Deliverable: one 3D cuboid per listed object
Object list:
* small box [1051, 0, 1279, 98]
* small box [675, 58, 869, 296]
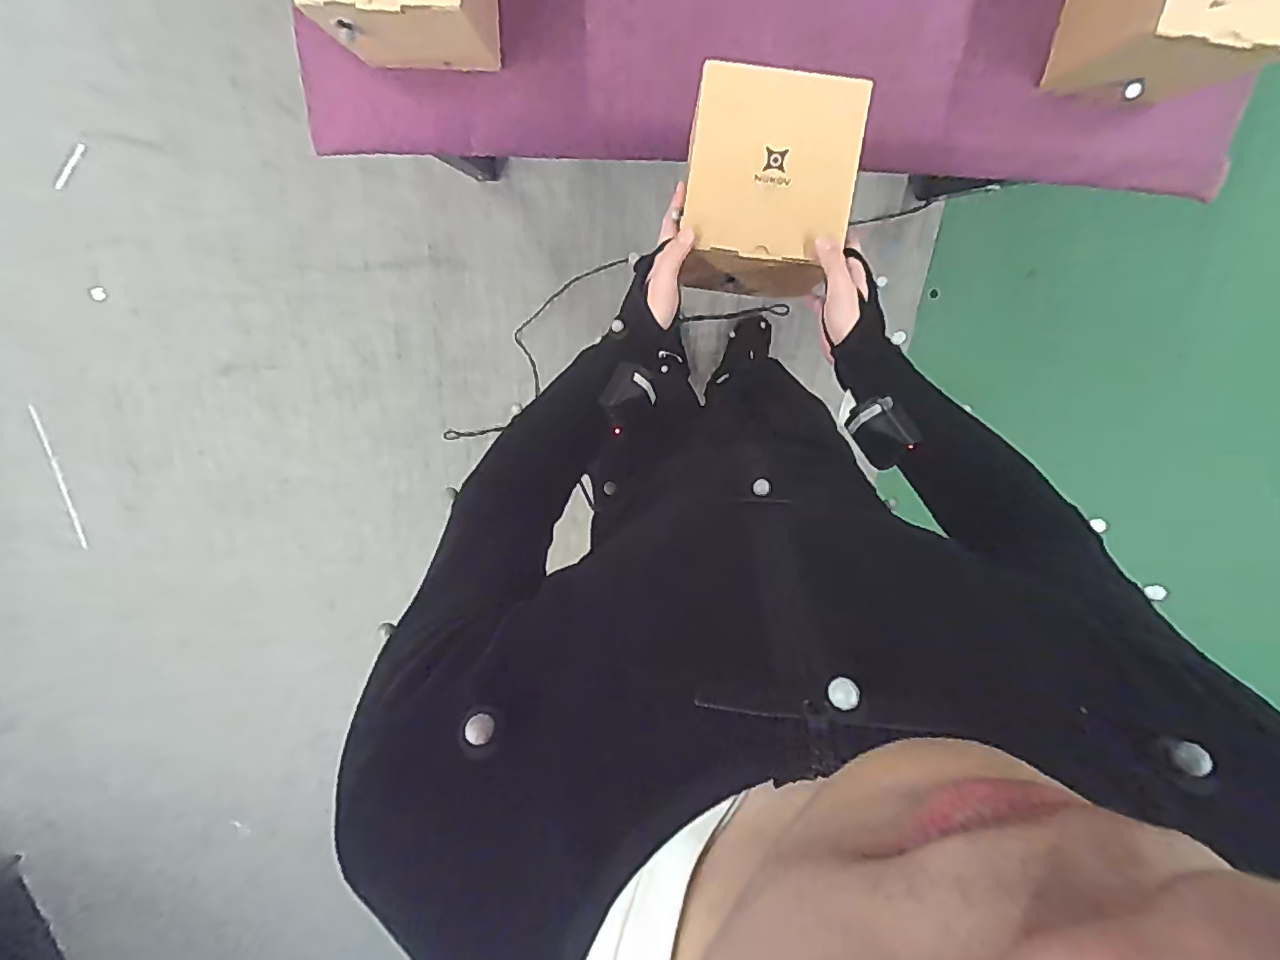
[{"bbox_3d":[0.594,-0.545,0.578,0.168,0.176,0.179,5,111,0],"label":"small box"},{"bbox_3d":[0.132,-0.322,0.611,0.168,0.176,0.179,7,98,0],"label":"small box"}]
